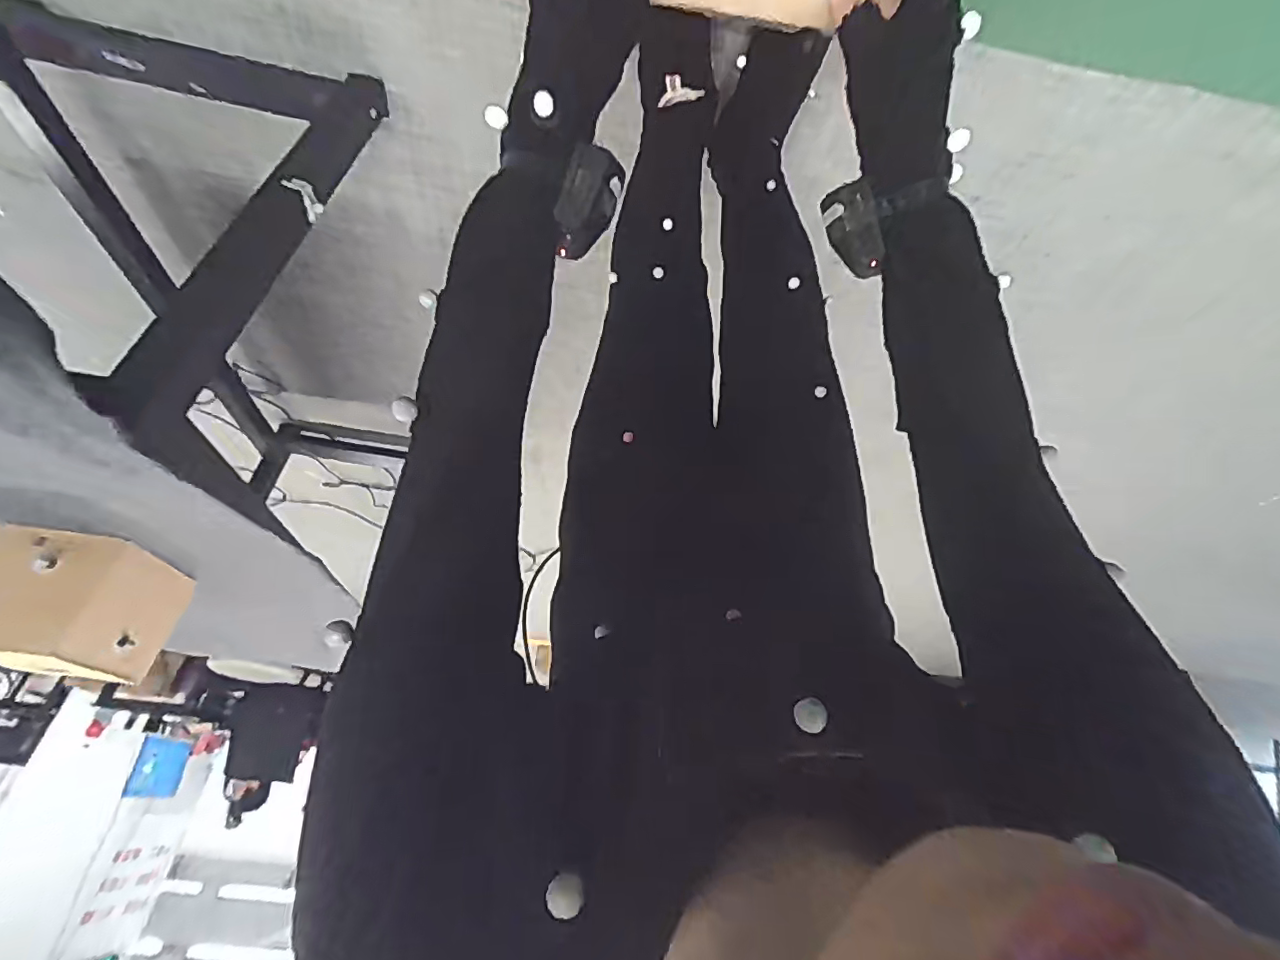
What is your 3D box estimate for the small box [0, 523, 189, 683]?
[{"bbox_3d":[-0.815,0.181,0.781,0.168,0.176,0.179,8,148,-4],"label":"small box"}]
